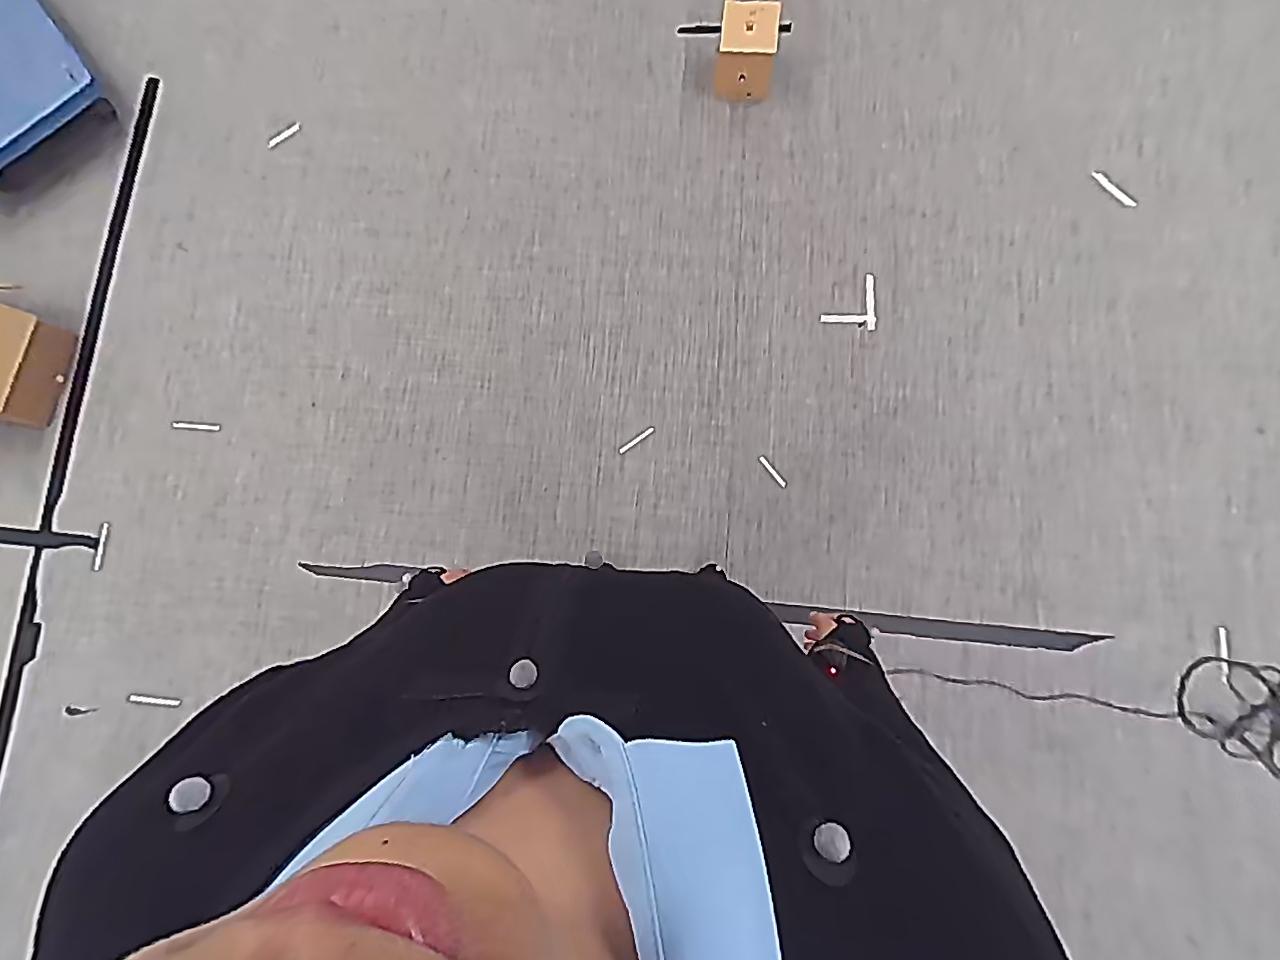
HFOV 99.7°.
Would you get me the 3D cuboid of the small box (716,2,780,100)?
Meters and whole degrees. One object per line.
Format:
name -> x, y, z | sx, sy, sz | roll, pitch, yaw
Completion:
small box -> 0.324, -1.301, 1.649 | 0.168, 0.176, 0.179 | 6, 81, 4
